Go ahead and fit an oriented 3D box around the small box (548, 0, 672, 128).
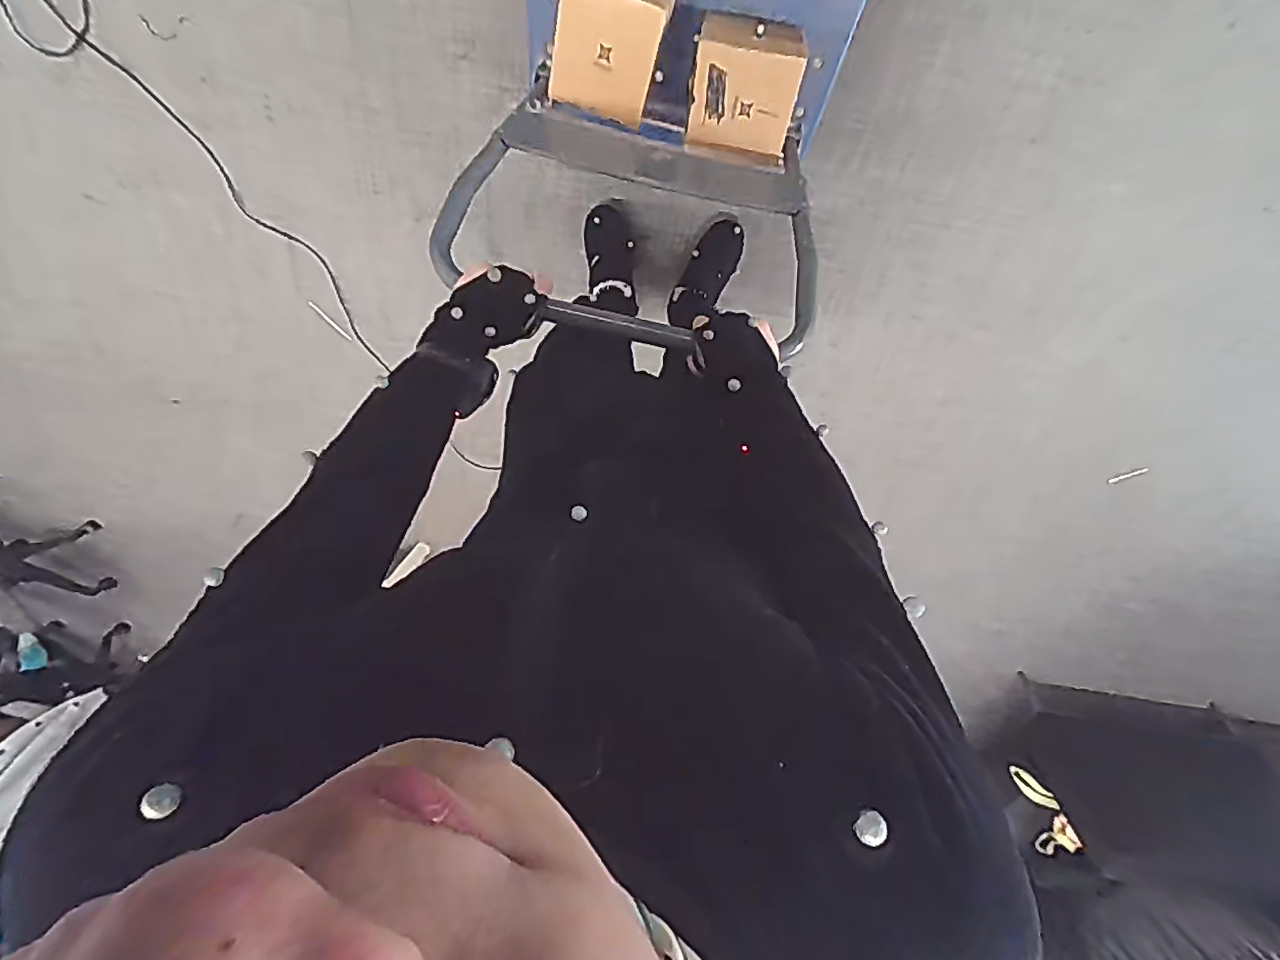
[{"bbox_3d":[-0.049,-0.755,0.926,0.168,0.176,0.179,16,143,-9],"label":"small box"}]
